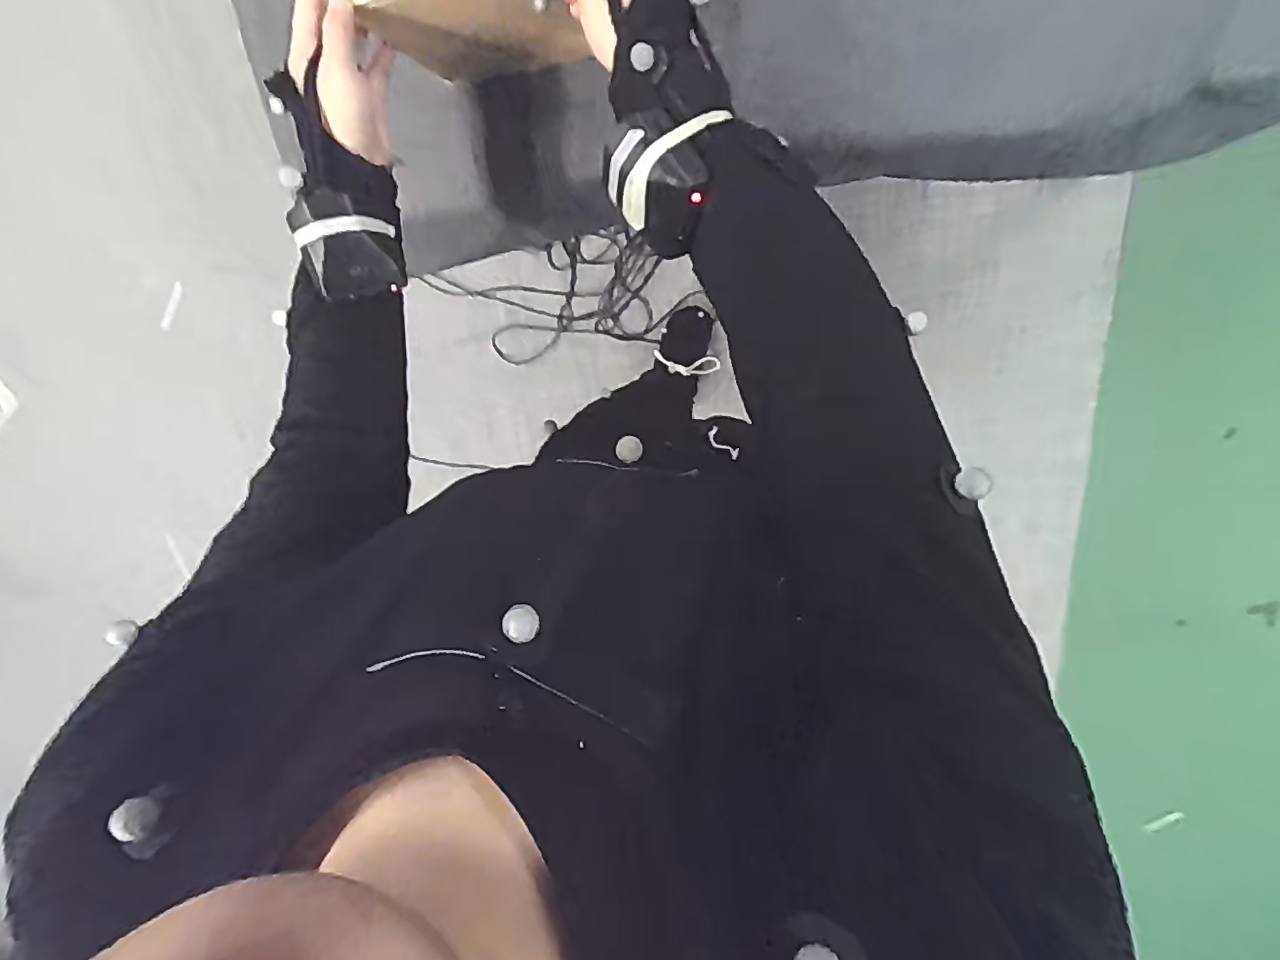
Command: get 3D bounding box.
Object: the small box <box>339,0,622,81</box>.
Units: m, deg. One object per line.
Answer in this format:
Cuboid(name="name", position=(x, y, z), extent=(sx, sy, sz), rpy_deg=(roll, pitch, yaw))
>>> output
Cuboid(name="small box", position=(-0.120, -0.430, 0.399), extent=(0.179, 0.176, 0.168), rpy_deg=(-6, 110, 9))
